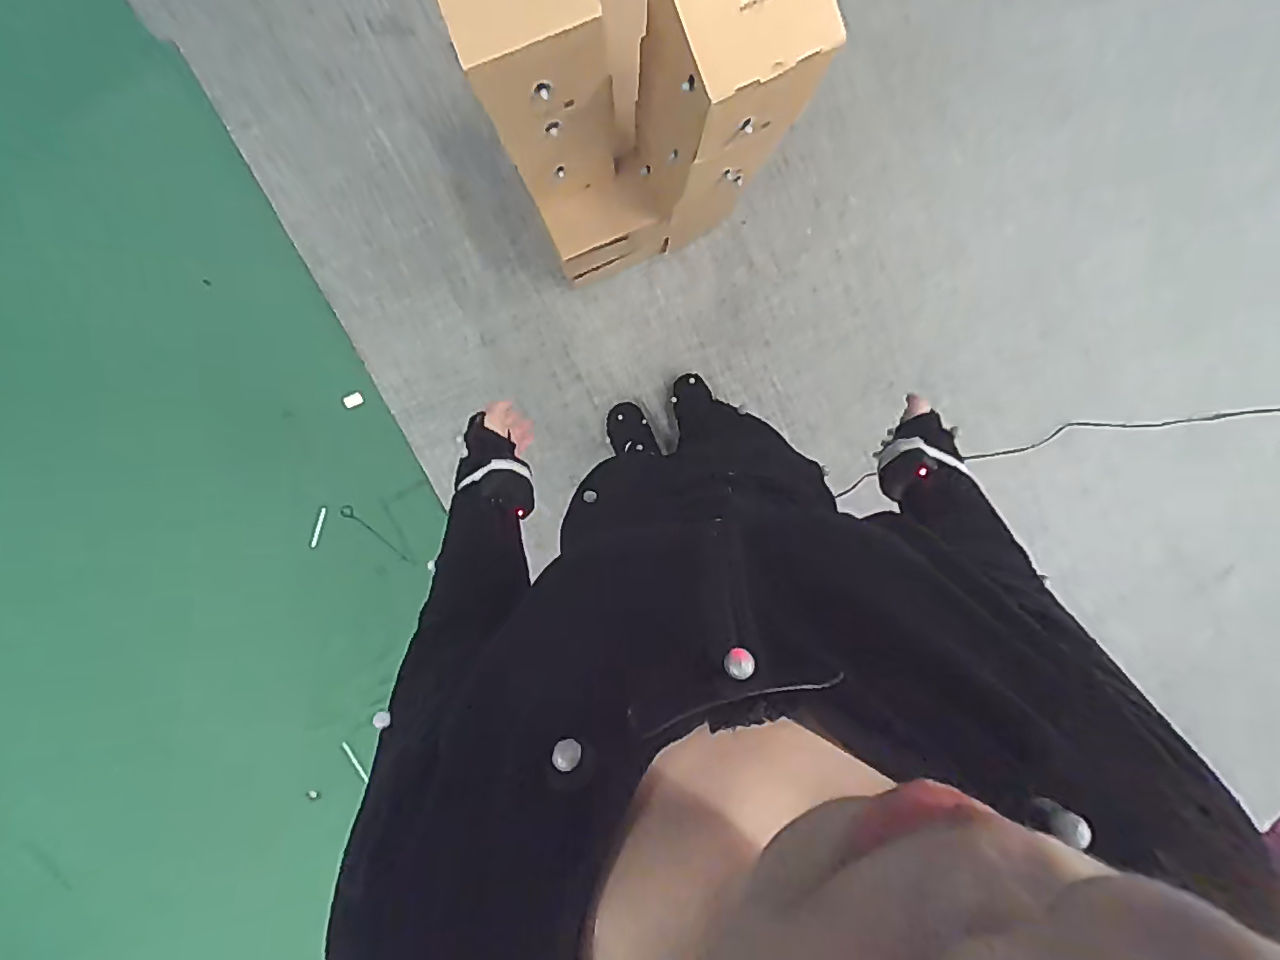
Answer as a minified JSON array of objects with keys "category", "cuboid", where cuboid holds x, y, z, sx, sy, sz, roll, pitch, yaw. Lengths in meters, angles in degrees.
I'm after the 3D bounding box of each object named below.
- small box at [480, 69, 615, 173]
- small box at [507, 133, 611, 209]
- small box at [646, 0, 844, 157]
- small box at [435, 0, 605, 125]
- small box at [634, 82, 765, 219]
[{"category":"small box","cuboid":[-0.151,-0.598,0.807,0.179,0.176,0.168,-25,99,6]},{"category":"small box","cuboid":[-0.162,-0.627,0.972,0.168,0.176,0.179,-24,99,4]},{"category":"small box","cuboid":[0.113,-0.542,0.659,0.168,0.176,0.179,-24,100,3]},{"category":"small box","cuboid":[-0.146,-0.563,0.647,0.168,0.176,0.179,-19,99,3]},{"category":"small box","cuboid":[0.097,-0.607,0.979,0.179,0.176,0.168,-26,99,3]}]
